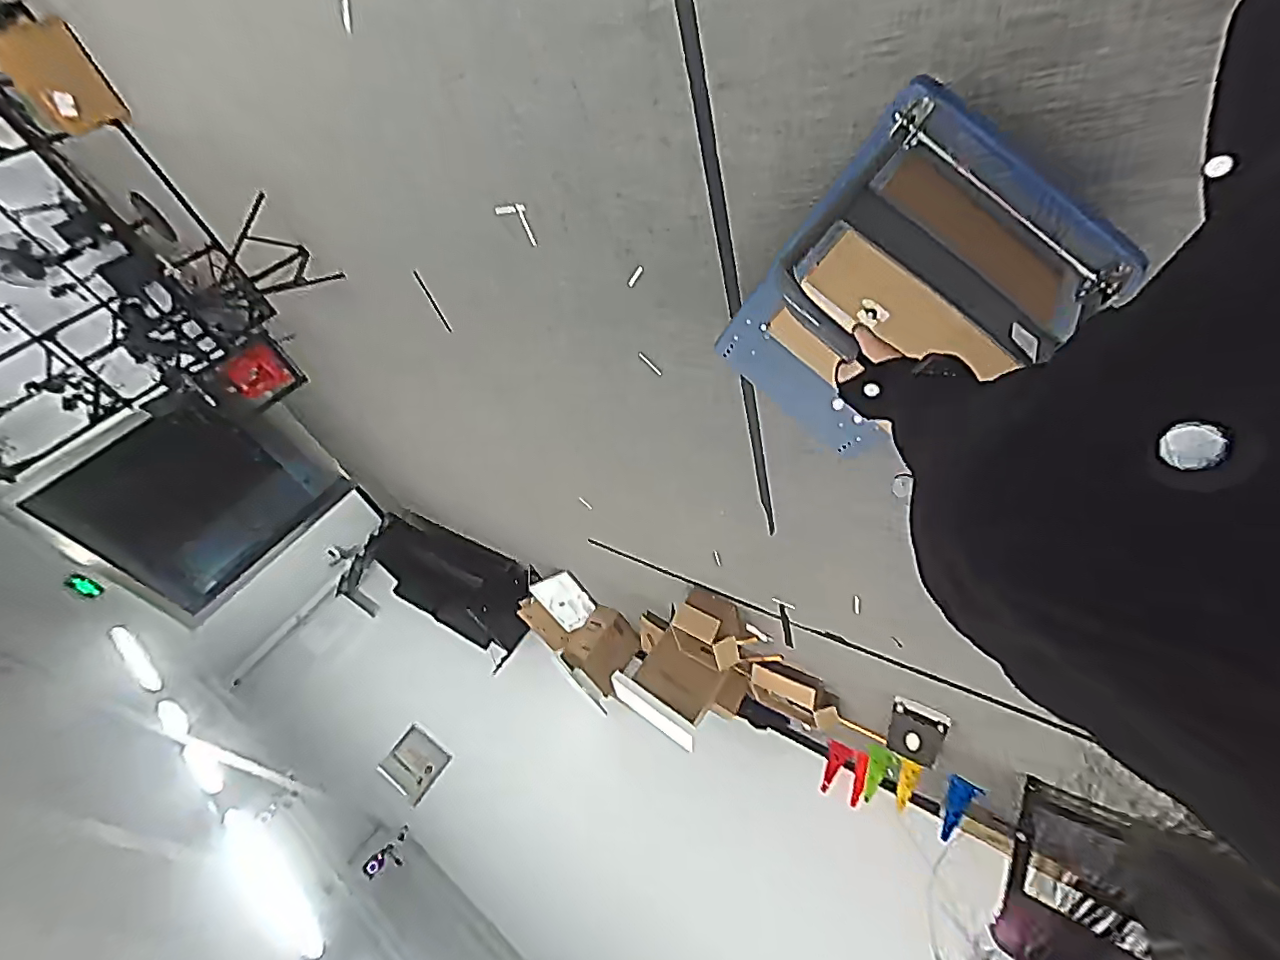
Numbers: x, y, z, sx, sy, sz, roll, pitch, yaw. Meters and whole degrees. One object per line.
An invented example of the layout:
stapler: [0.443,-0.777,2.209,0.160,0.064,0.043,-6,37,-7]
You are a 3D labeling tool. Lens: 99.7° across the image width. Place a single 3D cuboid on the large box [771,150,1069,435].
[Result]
large box: [0.567,-0.376,1.124,0.408,0.320,0.320,40,151,0]
